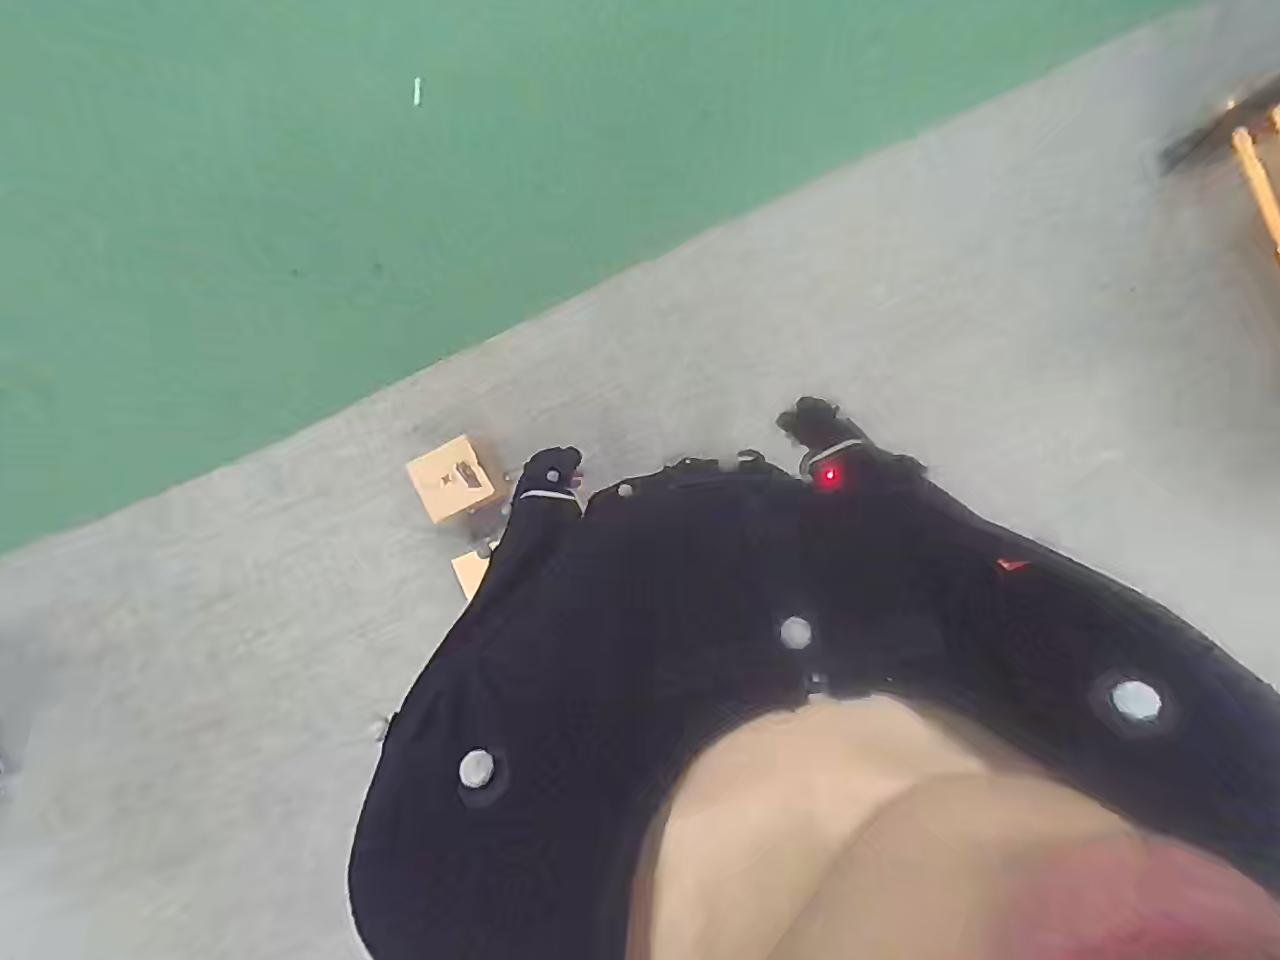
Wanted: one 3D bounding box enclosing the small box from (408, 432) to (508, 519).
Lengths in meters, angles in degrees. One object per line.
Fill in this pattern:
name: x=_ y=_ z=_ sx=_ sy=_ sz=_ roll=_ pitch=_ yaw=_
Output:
small box: x=-0.464 y=-0.014 z=1.420 sx=0.179 sy=0.176 sz=0.168 roll=-27 pitch=90 yaw=3
